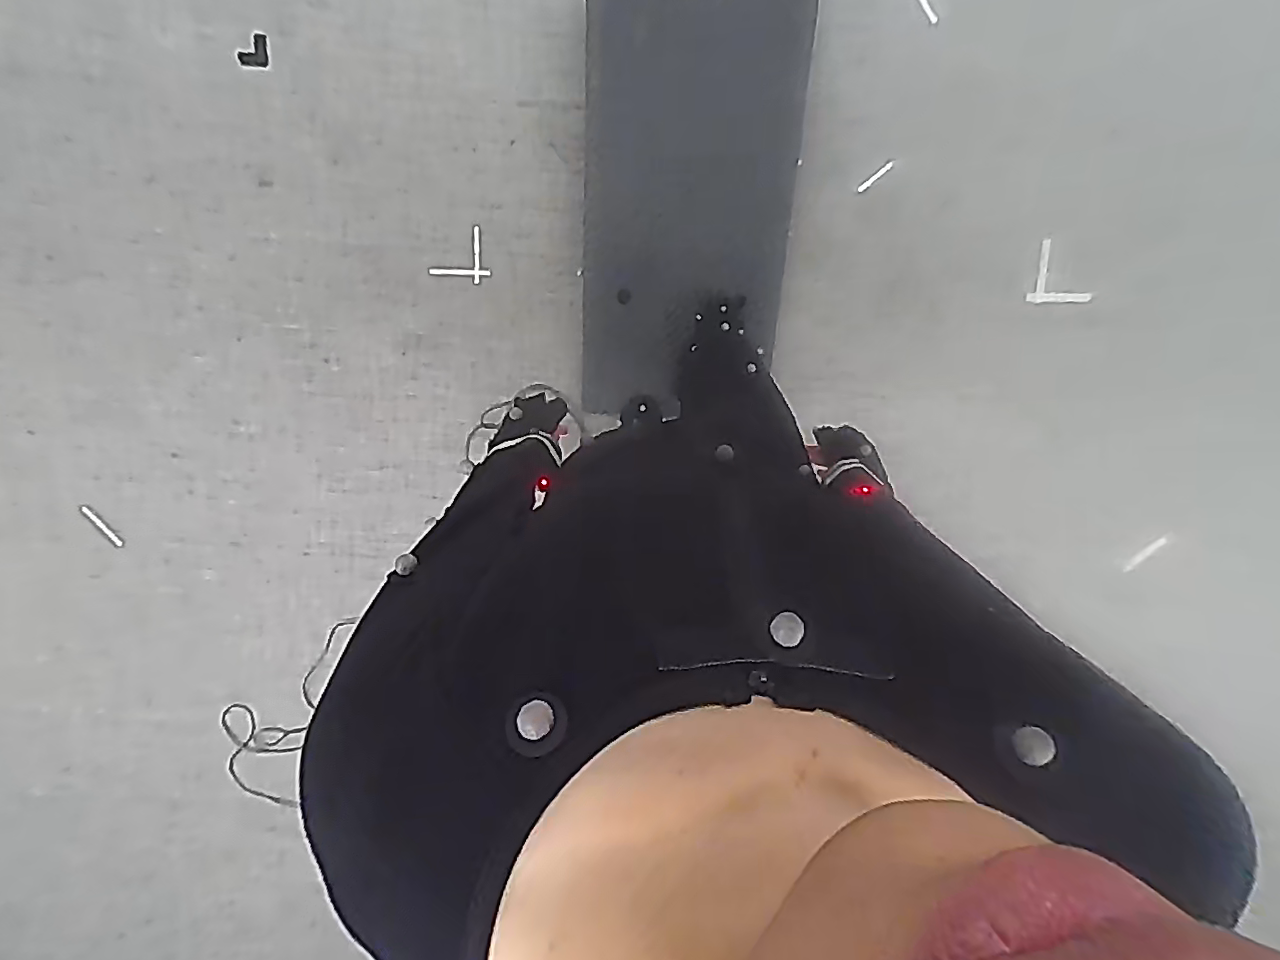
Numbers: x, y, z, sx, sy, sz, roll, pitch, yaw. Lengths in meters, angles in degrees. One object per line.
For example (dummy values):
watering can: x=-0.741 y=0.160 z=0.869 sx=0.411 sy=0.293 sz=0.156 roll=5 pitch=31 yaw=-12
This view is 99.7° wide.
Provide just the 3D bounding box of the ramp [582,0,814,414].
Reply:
ramp: x=0.110 y=-0.649 z=1.271 sx=0.509 sy=0.206 sz=0.991 roll=0 pitch=101 yaw=-3
